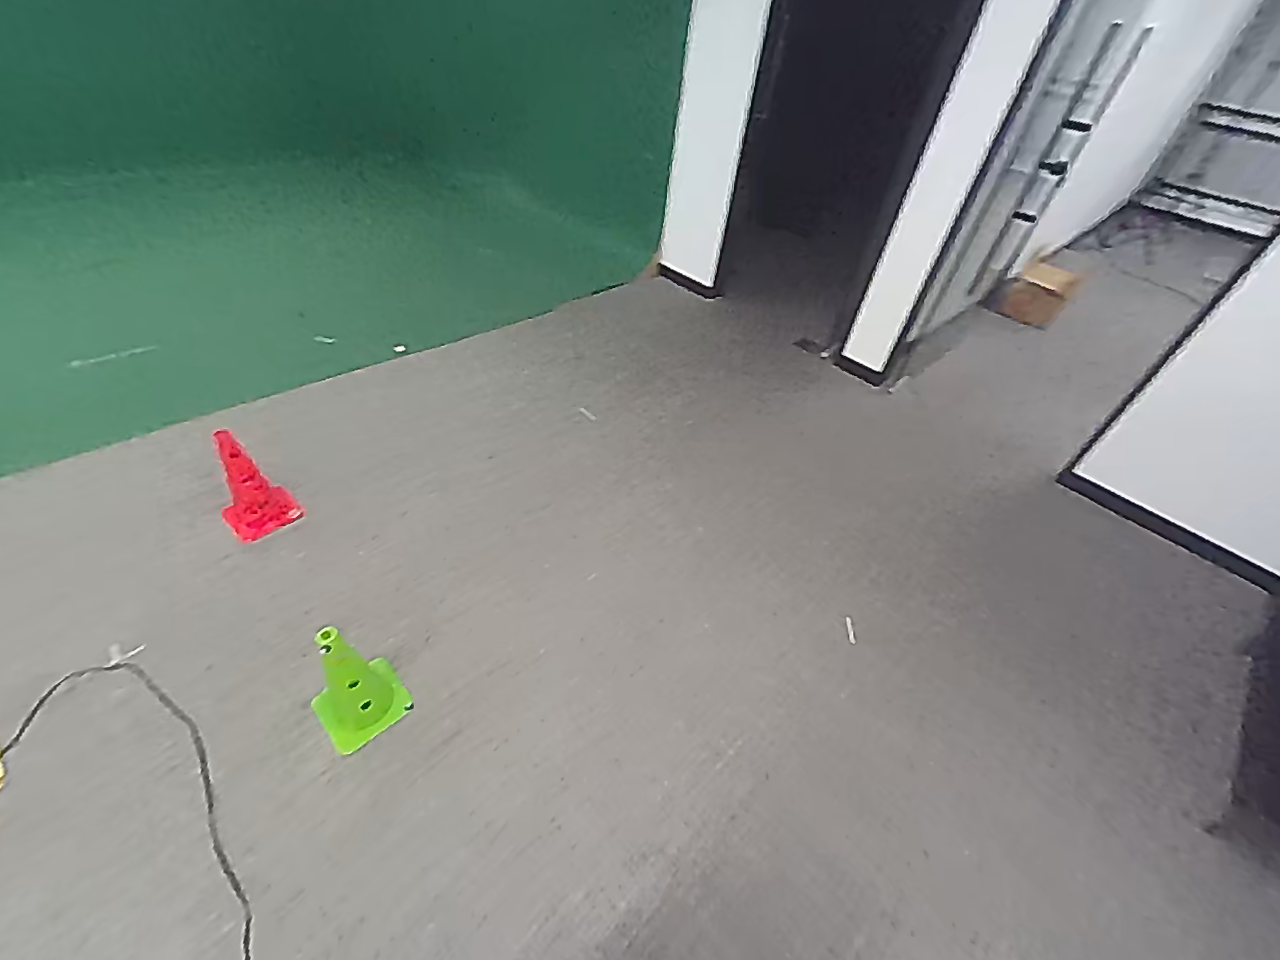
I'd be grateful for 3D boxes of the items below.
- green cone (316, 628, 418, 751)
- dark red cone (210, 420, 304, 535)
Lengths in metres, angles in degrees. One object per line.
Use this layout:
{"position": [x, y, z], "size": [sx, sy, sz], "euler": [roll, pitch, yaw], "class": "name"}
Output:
{"position": [-0.715, 0.469, 1.331], "size": [0.200, 0.368, 0.202], "euler": [37, 52, 28], "class": "green cone"}
{"position": [-1.269, -0.027, 1.736], "size": [0.201, 0.394, 0.202], "euler": [33, 49, 26], "class": "dark red cone"}
